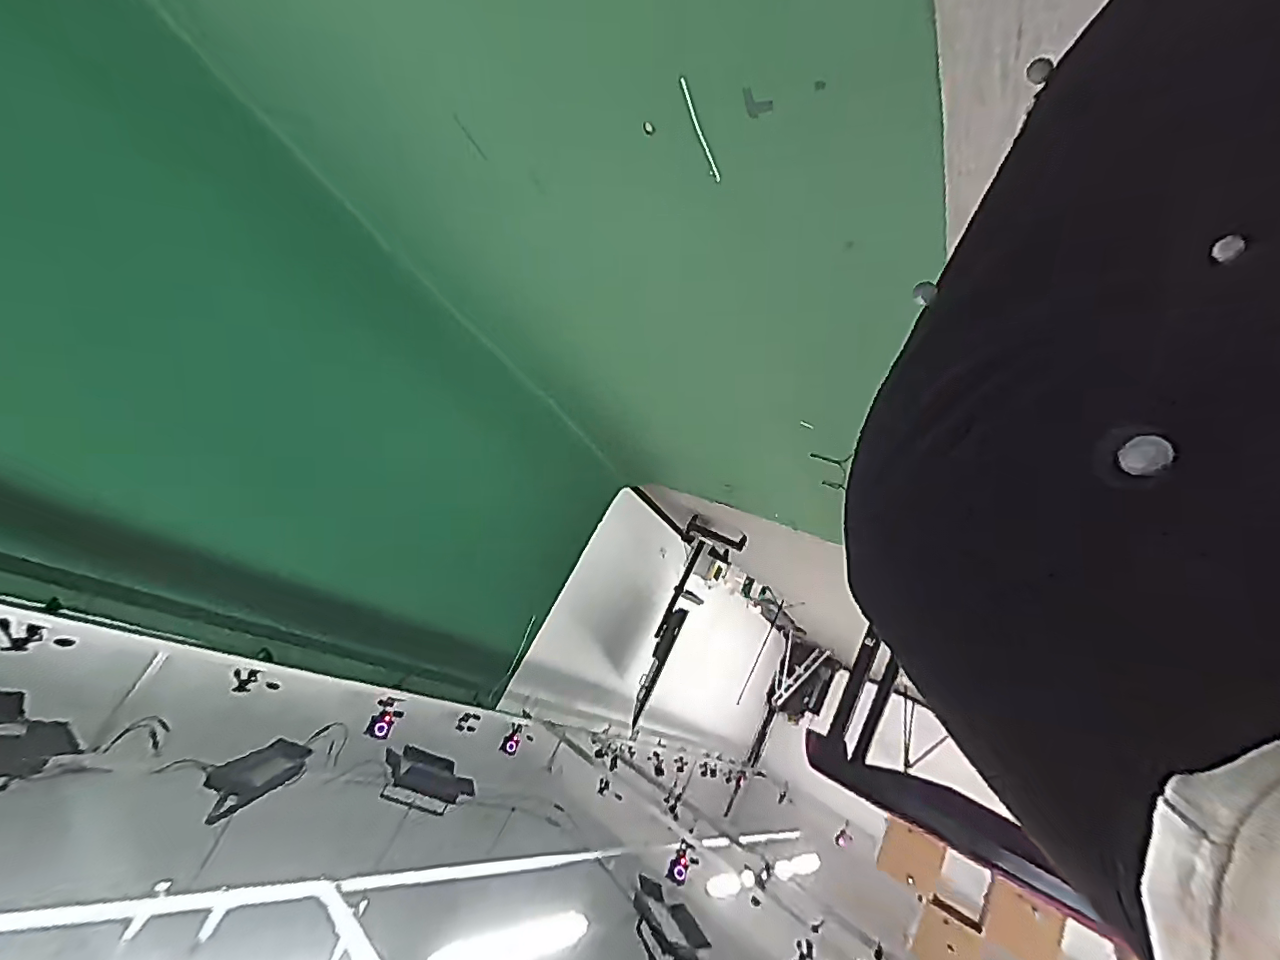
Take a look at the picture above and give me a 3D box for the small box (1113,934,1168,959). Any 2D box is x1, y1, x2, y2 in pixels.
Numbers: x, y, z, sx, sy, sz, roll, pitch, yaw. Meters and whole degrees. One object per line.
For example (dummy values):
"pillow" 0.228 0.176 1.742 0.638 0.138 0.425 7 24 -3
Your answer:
"small box" 1.285 1.276 1.336 0.168 0.176 0.179 17 163 39

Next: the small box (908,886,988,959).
"small box" 0.901 1.326 1.583 0.168 0.176 0.179 19 164 35

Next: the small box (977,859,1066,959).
"small box" 1.078 1.214 1.532 0.168 0.176 0.179 17 163 35

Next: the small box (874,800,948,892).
"small box" 0.854 1.143 1.708 0.168 0.176 0.179 19 165 30
